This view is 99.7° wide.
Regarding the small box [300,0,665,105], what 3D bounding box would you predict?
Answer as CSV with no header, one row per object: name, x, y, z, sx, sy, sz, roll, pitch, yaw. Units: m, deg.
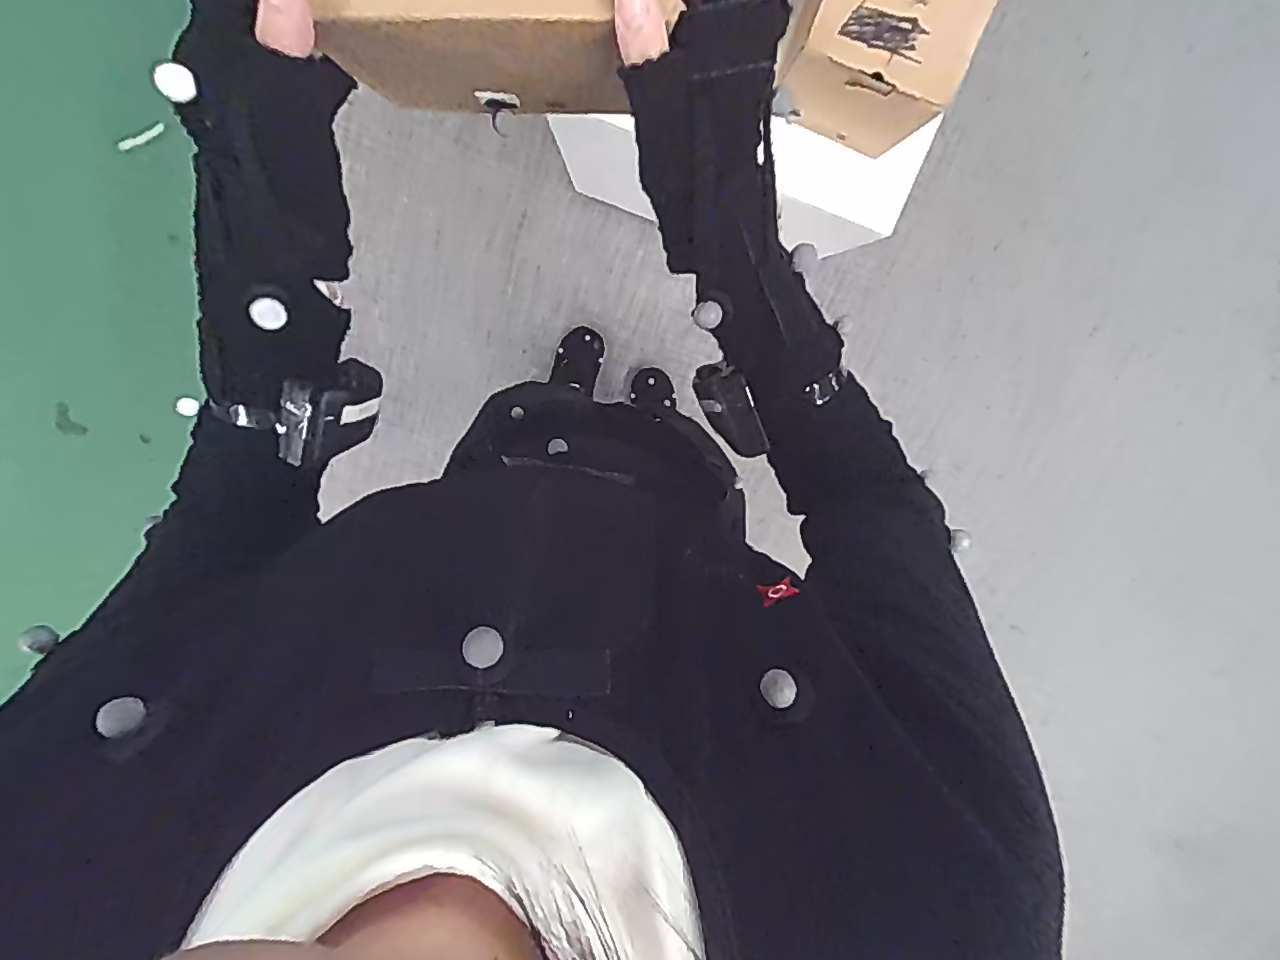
small box,-0.077,-0.297,0.246,0.168,0.176,0.179,-2,113,-3

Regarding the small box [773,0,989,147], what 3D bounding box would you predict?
small box,0.265,-0.514,0.607,0.168,0.176,0.179,20,104,-6
